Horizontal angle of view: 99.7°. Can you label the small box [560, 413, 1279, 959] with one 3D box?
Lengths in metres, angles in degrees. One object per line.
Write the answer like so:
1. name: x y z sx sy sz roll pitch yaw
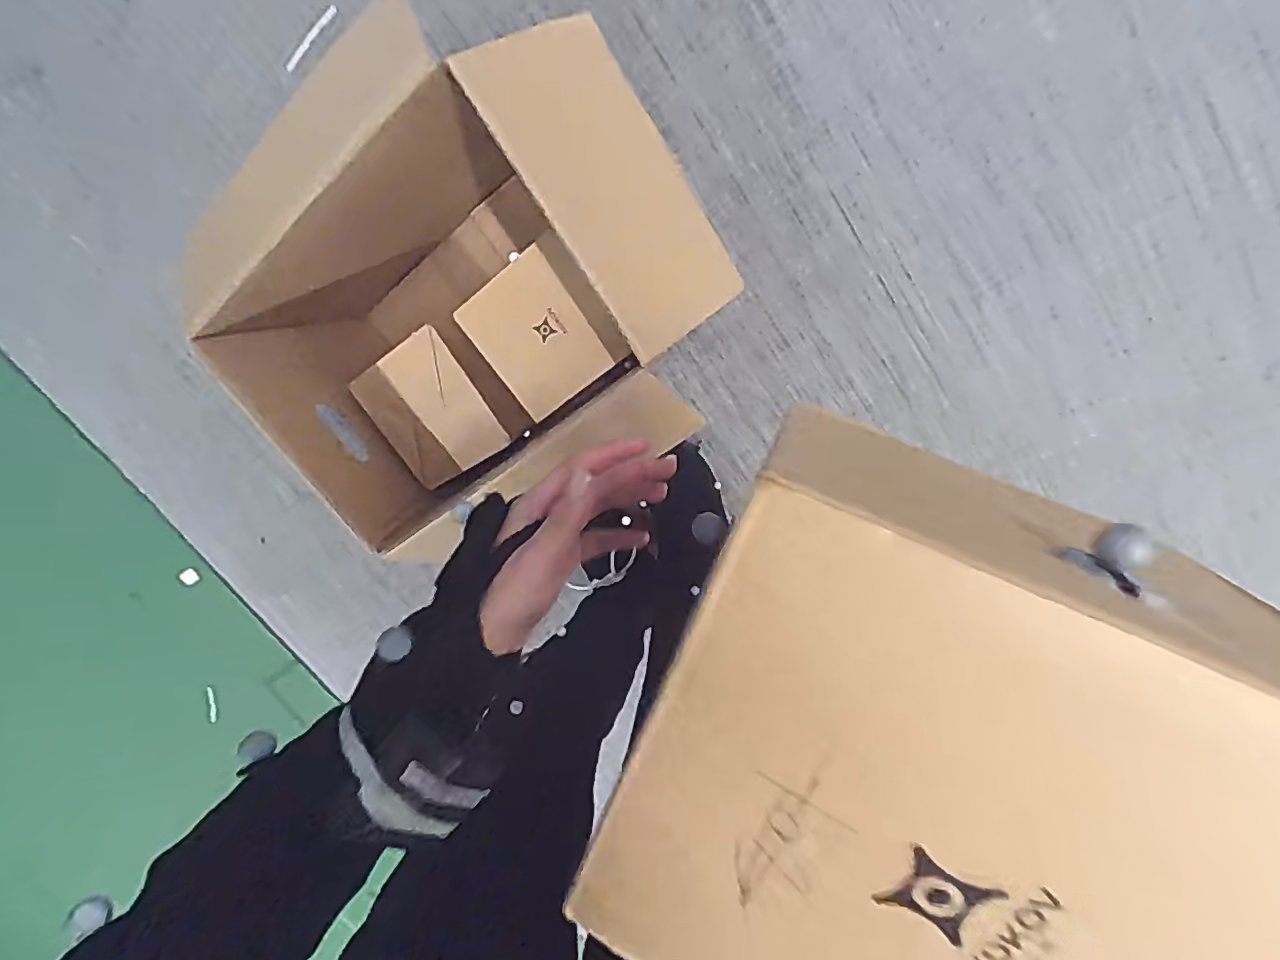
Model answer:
1. small box: 0.098 0.080 0.221 0.179 0.176 0.168 23 109 13
